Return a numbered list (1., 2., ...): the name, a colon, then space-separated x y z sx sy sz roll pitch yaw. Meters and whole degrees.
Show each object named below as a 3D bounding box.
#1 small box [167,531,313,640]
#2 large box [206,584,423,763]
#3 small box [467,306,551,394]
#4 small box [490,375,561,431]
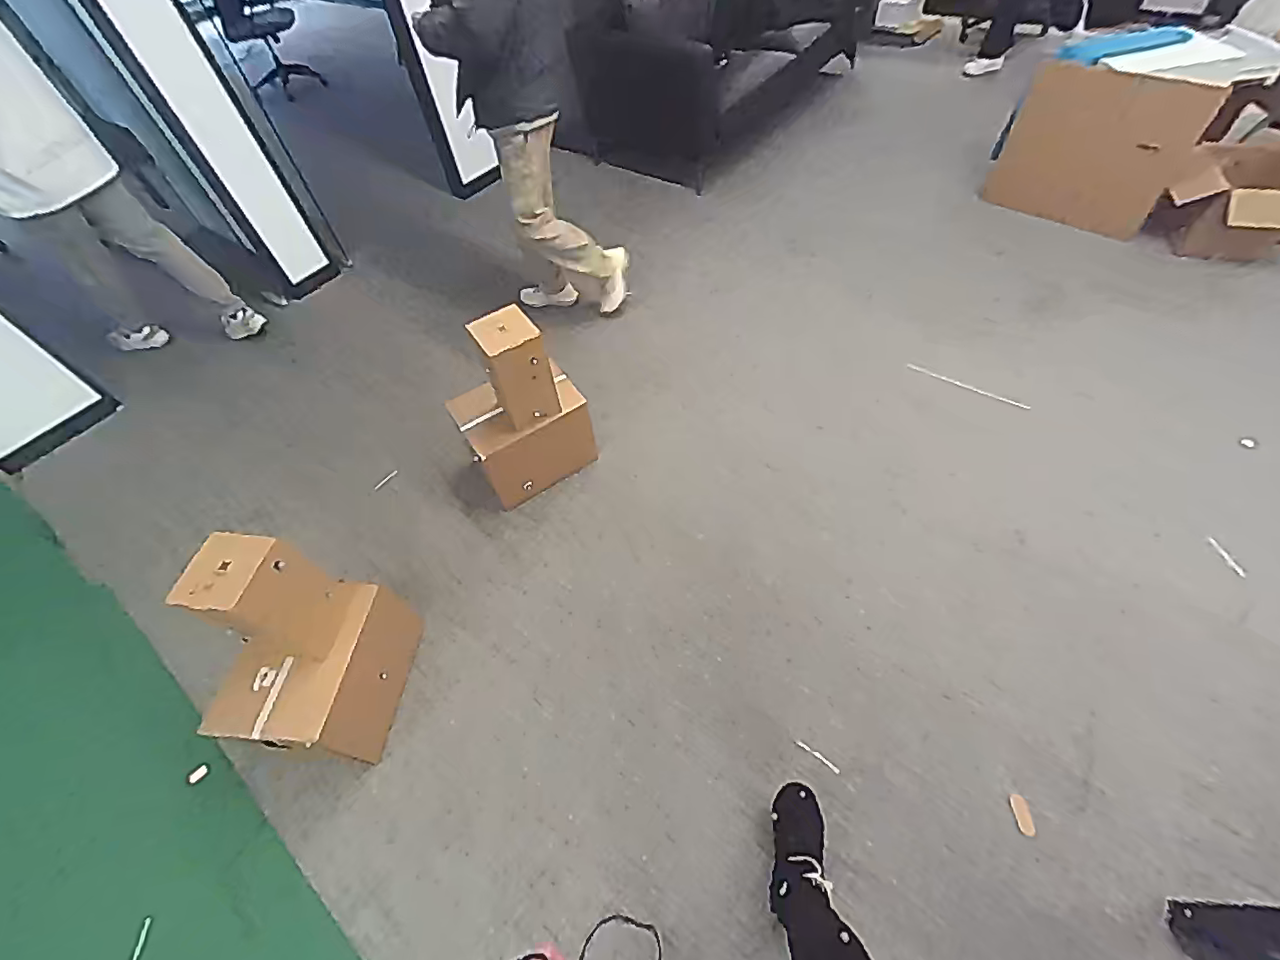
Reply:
1. small box: -0.878 0.238 1.213 0.168 0.176 0.179 5 55 10
2. large box: -0.861 0.535 1.504 0.320 0.320 0.408 0 55 8
3. small box: -0.386 -0.381 1.619 0.168 0.176 0.179 -30 57 -16
4. small box: -0.375 -0.291 1.755 0.168 0.176 0.179 -28 58 -15
